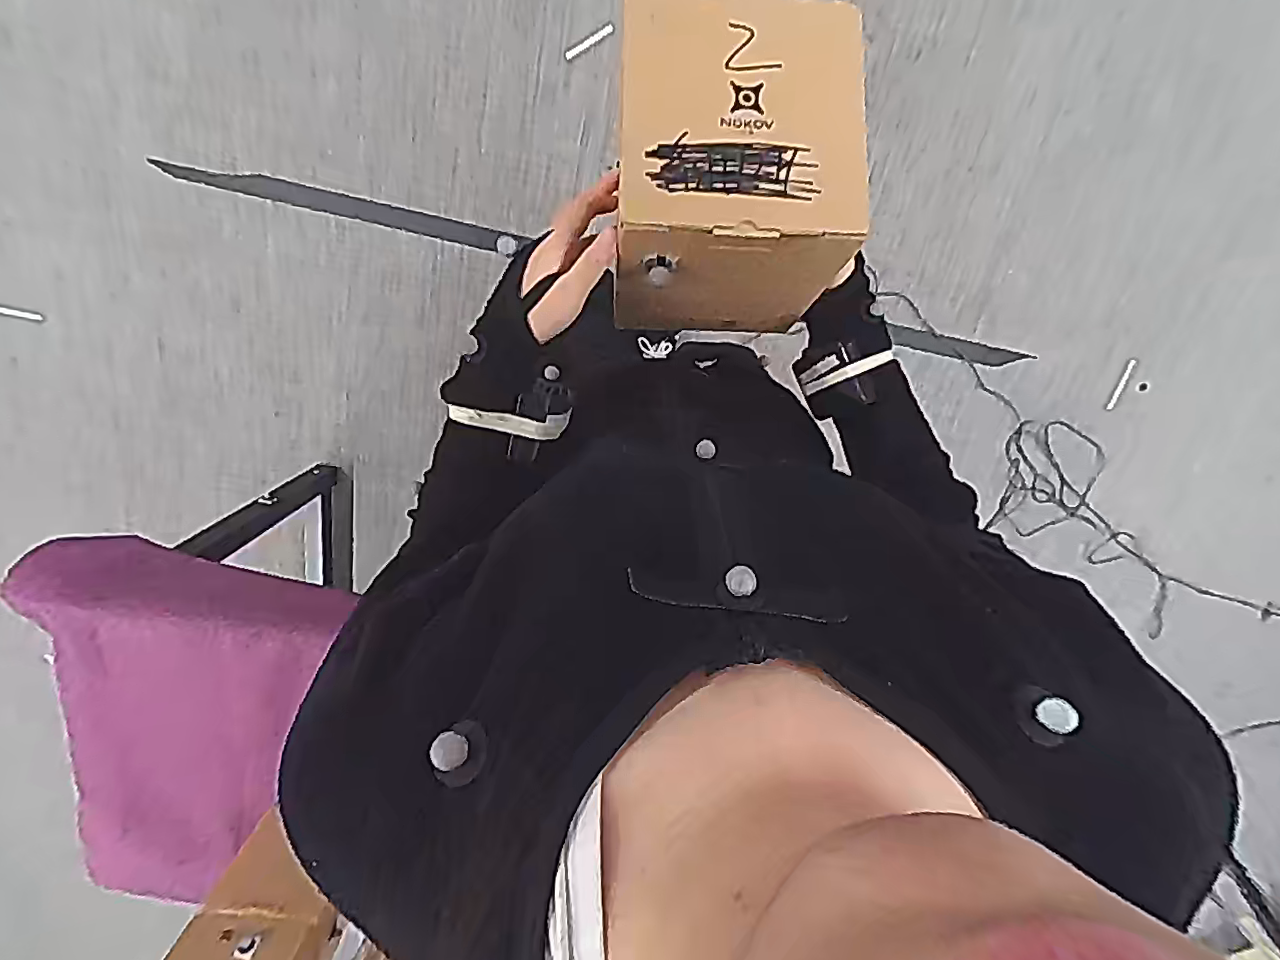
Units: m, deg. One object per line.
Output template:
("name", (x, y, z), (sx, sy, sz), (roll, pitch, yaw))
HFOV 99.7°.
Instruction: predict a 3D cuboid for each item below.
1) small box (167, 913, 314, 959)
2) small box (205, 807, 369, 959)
("small box", (-0.563, 0.733, 0.728), (0.168, 0.176, 0.179), (8, 107, -5))
("small box", (-0.562, 0.678, 0.881), (0.168, 0.176, 0.179), (10, 107, -6))
